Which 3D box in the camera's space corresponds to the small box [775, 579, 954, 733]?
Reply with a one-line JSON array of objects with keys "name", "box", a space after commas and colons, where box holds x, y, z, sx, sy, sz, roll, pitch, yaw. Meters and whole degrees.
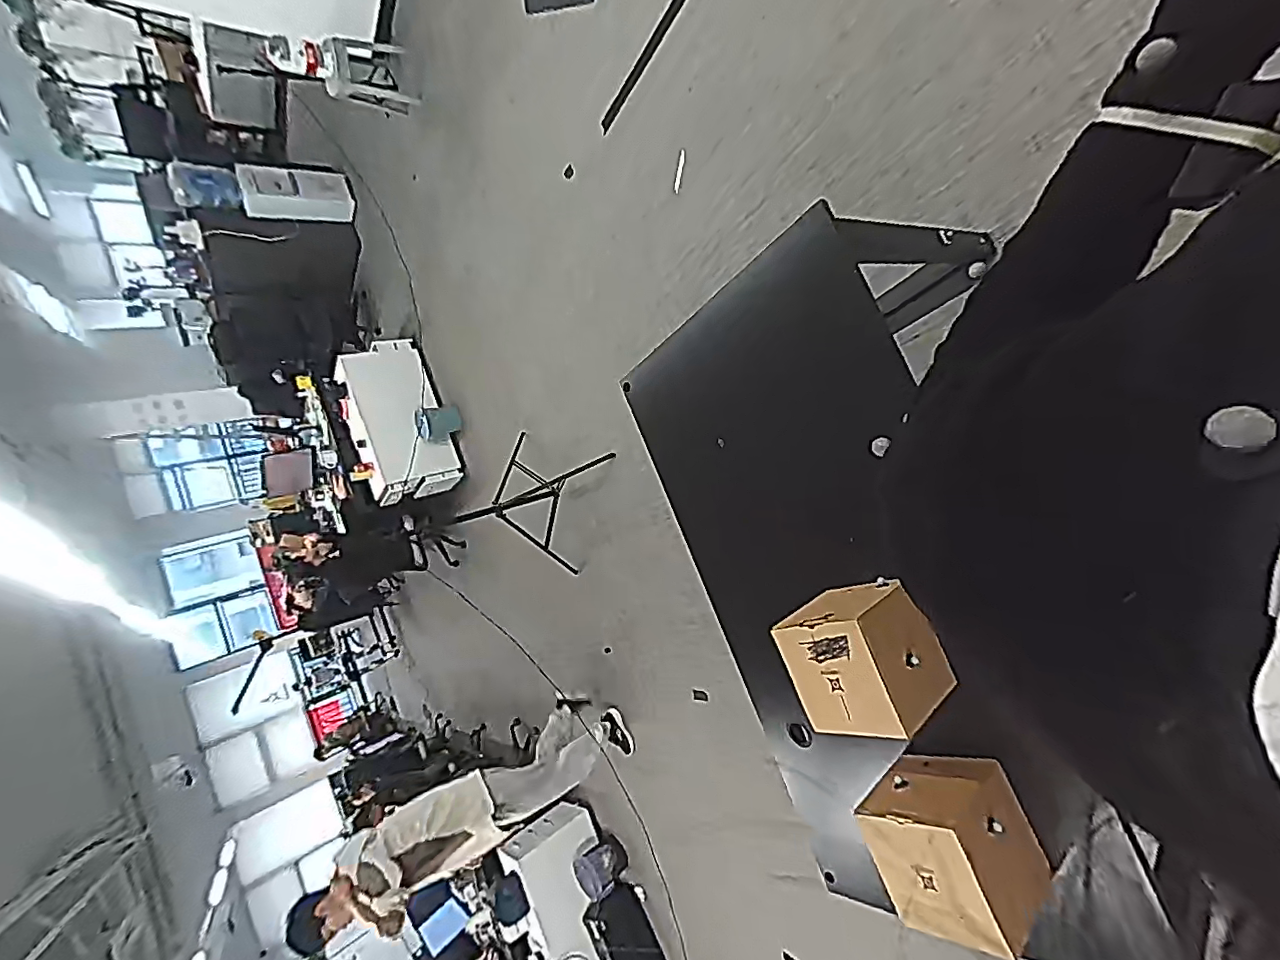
[{"name": "small box", "box": [0.353, 0.268, 0.853, 0.168, 0.176, 0.179, -29, 81, 53]}]

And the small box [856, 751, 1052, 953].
[{"name": "small box", "box": [0.470, 0.535, 0.814, 0.168, 0.176, 0.179, -35, 77, 53]}]
